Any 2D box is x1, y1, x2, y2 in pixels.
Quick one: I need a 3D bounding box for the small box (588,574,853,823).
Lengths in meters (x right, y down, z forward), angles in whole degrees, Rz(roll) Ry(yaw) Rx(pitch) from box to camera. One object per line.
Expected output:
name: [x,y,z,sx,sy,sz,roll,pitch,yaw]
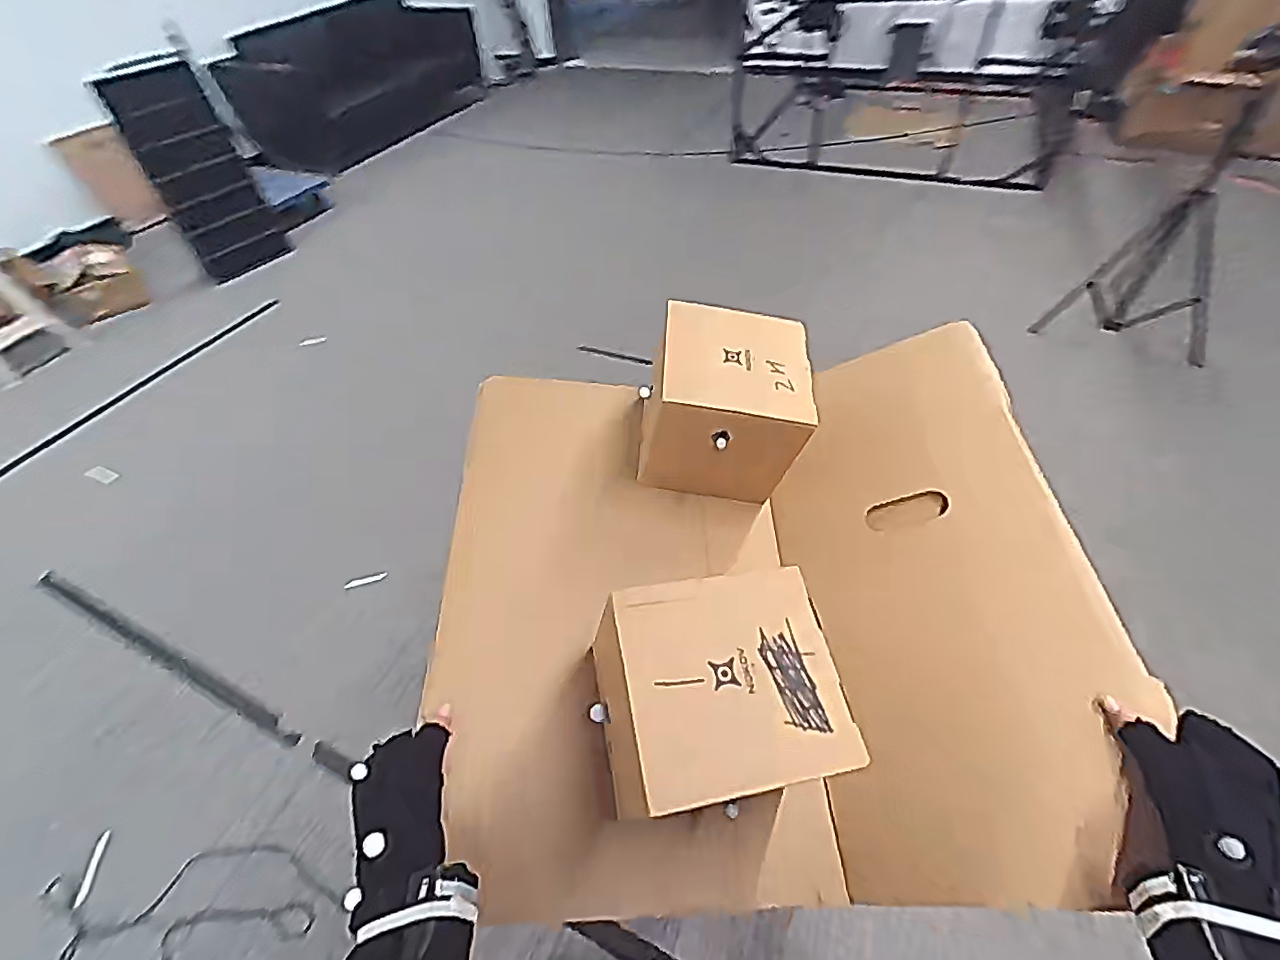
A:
small box: [0.055,0.204,0.502,0.179,0.176,0.168,-6,59,-14]
